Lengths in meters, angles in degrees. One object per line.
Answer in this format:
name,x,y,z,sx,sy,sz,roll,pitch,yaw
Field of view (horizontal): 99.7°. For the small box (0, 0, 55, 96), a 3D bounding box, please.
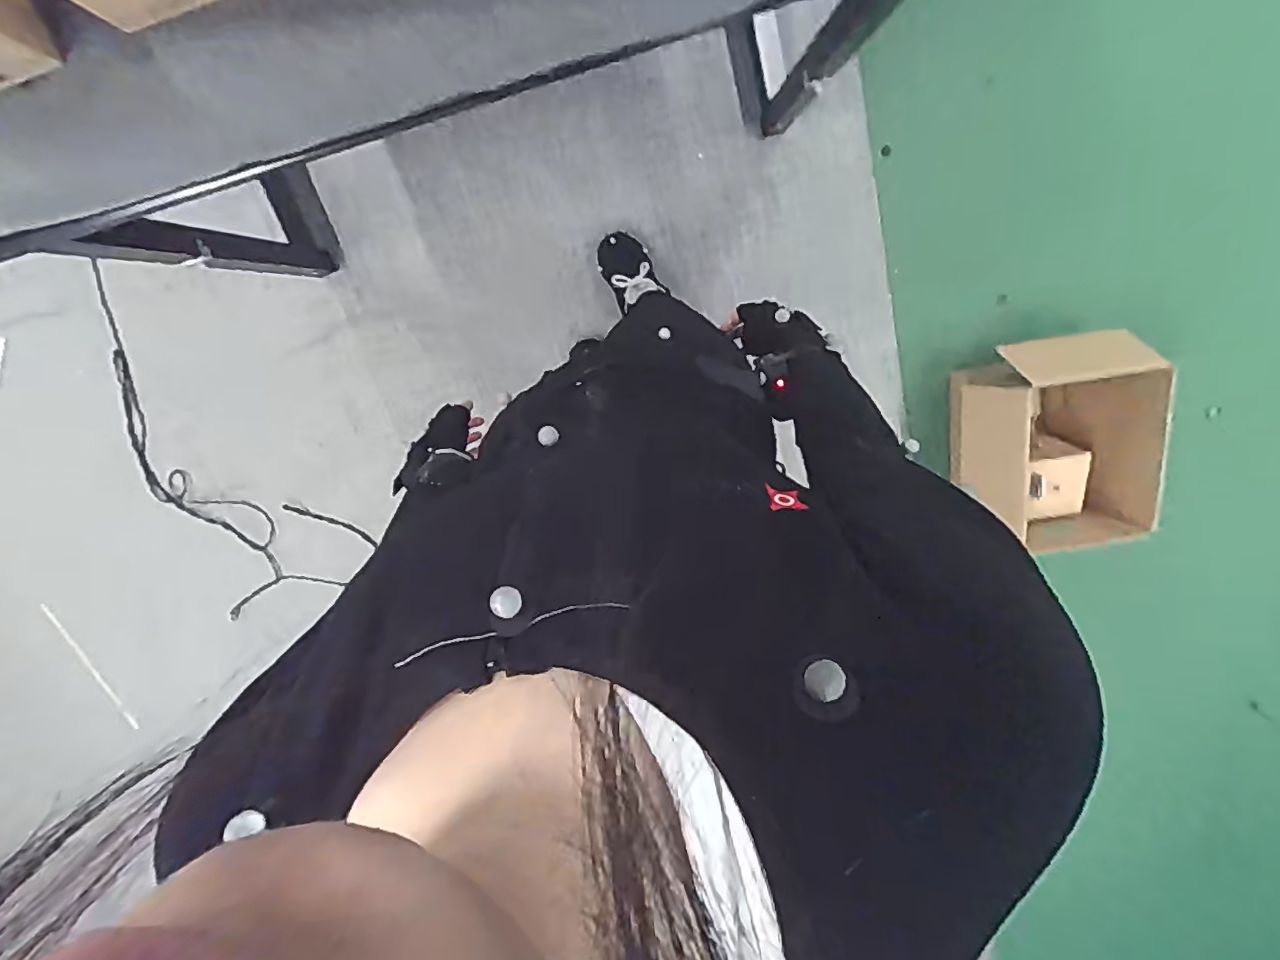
small box,-0.711,-0.465,0.476,0.168,0.176,0.179,-19,106,2
